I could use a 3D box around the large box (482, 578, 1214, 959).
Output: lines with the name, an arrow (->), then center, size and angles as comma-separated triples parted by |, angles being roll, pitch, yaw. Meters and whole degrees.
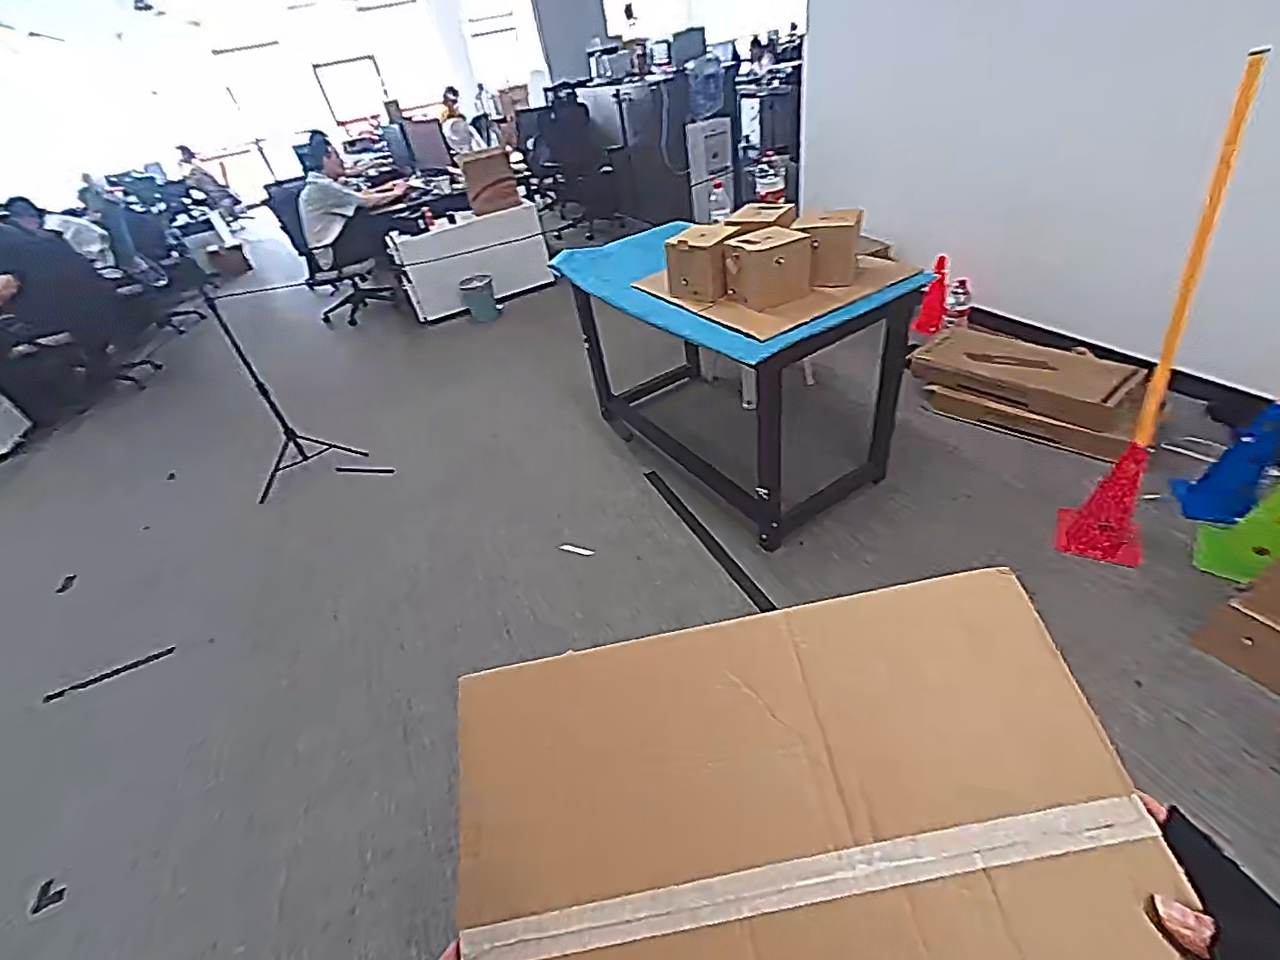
large box -> 0.118, 0.317, 0.453 | 0.408, 0.320, 0.320 | -12, 60, 1
